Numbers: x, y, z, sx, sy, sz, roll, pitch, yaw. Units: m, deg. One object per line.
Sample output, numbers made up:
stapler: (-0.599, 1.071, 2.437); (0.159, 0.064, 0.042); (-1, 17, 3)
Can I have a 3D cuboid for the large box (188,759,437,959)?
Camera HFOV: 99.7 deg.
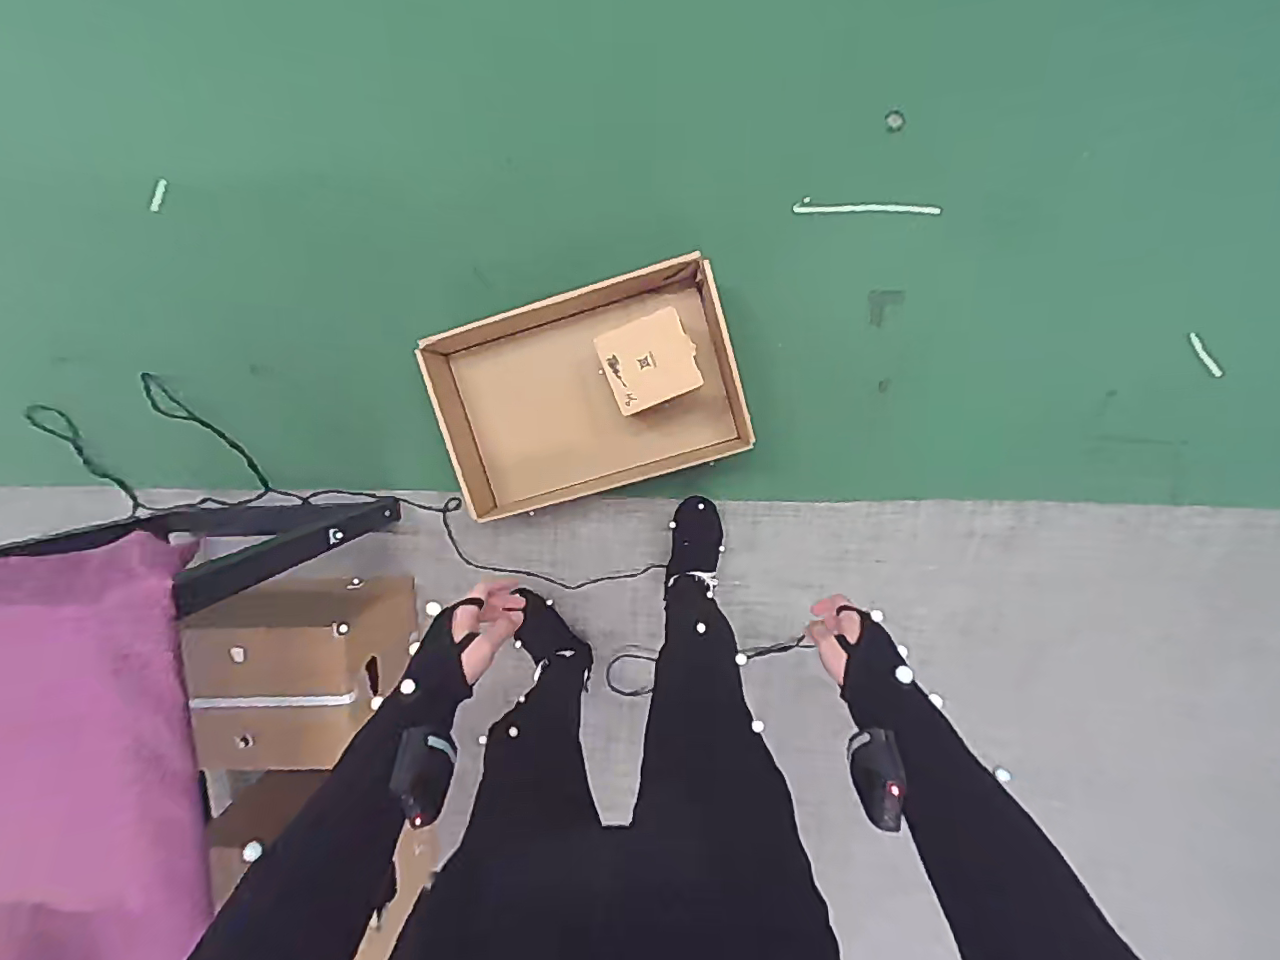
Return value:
large box: (-0.759, 0.915, 1.312); (0.408, 0.320, 0.320); (0, 98, 4)
